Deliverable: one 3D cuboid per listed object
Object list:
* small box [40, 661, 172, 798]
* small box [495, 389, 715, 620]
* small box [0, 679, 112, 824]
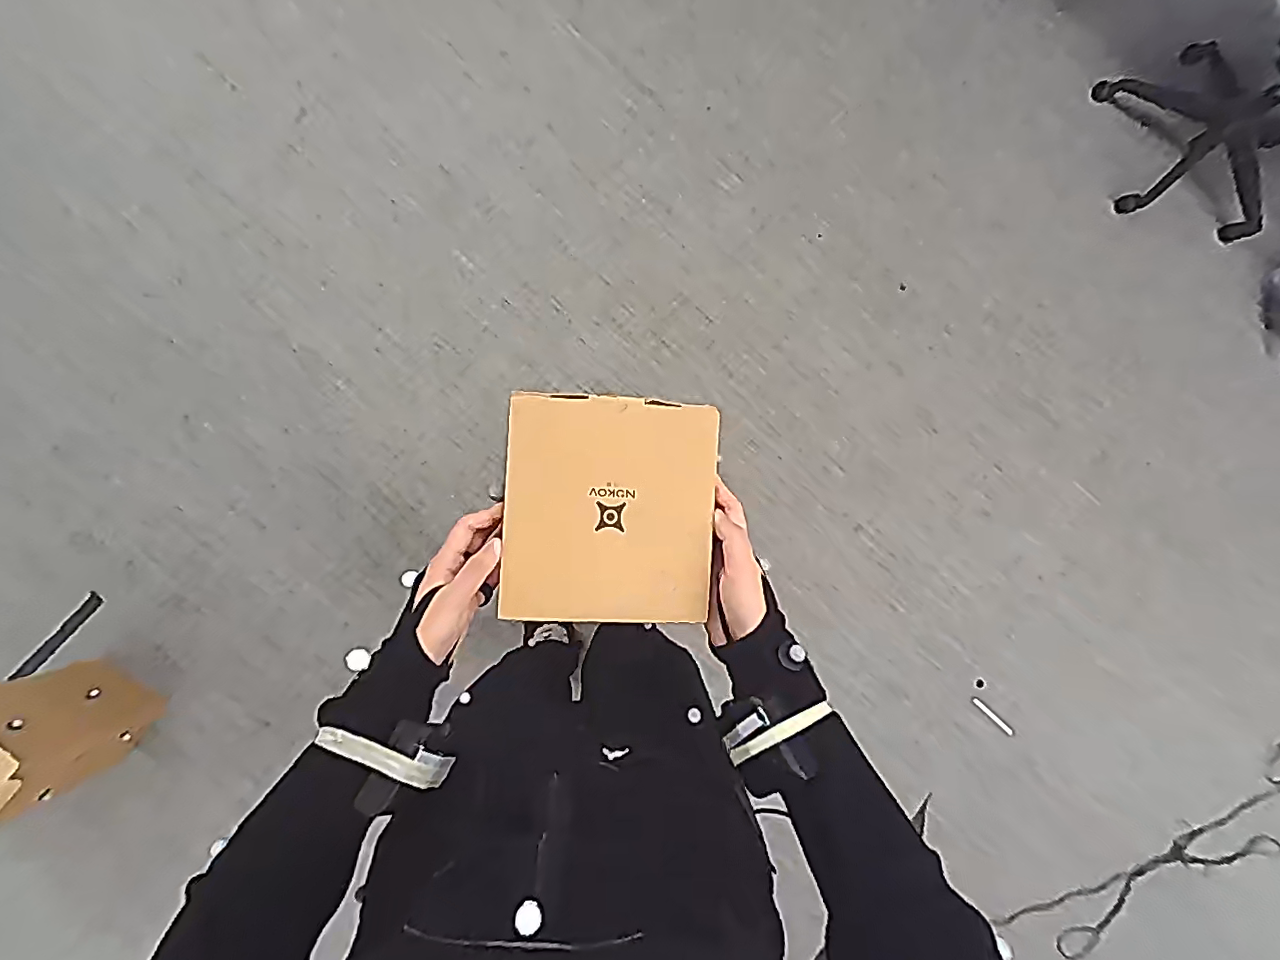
[{"bbox_3d":[-1.141,0.499,1.114,0.179,0.176,0.168,36,81,-2],"label":"small box"},{"bbox_3d":[-0.035,0.021,0.501,0.168,0.176,0.179,3,89,-8],"label":"small box"},{"bbox_3d":[-1.117,0.480,0.952,0.179,0.176,0.168,37,81,-2],"label":"small box"}]
